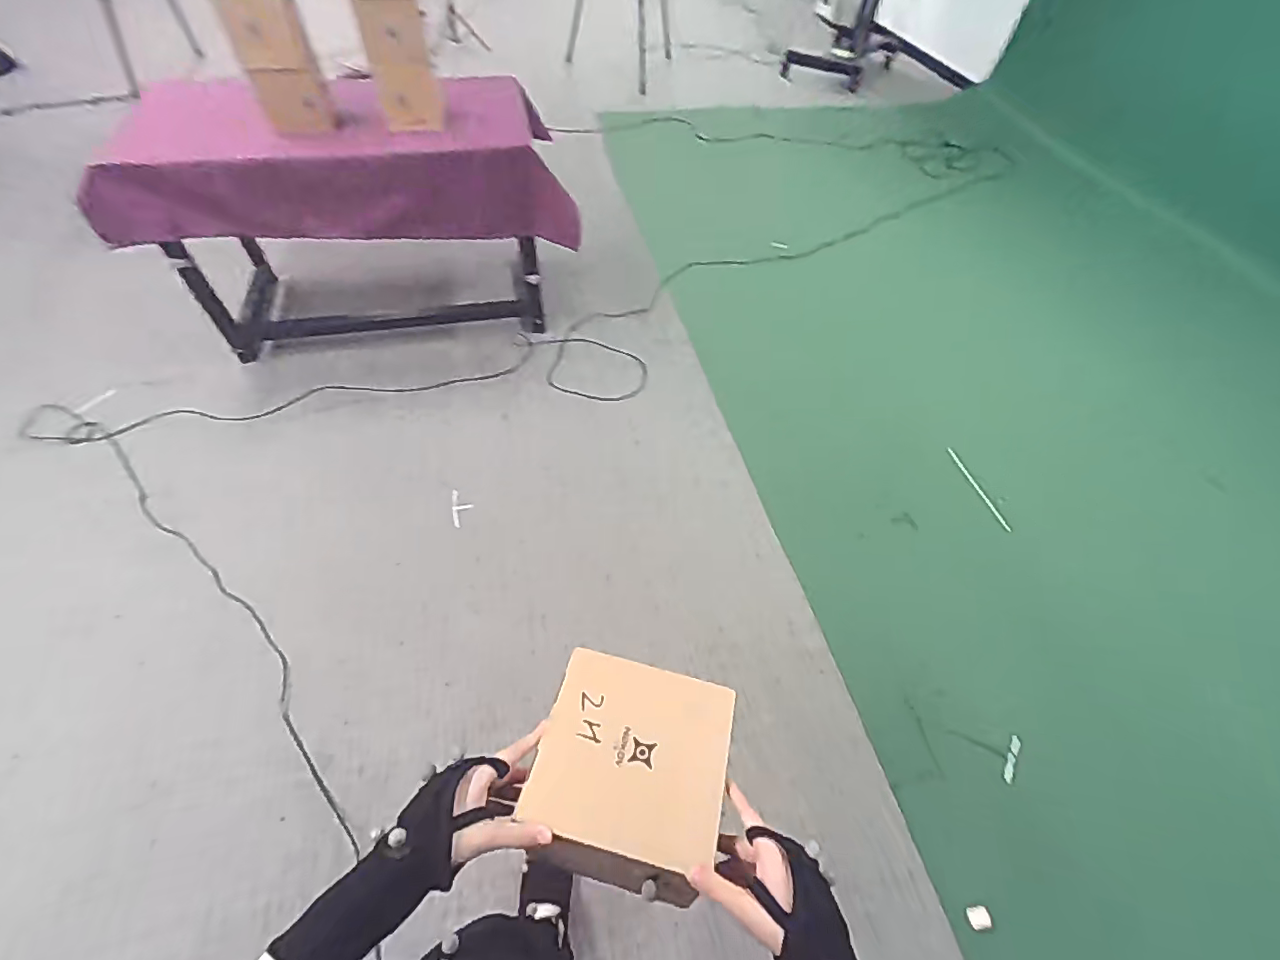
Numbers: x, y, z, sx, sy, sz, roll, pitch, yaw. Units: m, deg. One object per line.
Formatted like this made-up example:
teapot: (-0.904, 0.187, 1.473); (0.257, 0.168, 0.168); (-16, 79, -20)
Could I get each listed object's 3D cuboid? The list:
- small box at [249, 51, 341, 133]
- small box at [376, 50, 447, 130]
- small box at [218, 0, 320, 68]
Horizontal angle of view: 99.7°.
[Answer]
small box: (-1.041, -1.185, 1.651); (0.179, 0.176, 0.168); (-8, 54, -9)
small box: (-0.714, -1.228, 1.706); (0.168, 0.176, 0.179); (-7, 53, -9)
small box: (-1.036, -1.281, 1.518); (0.179, 0.176, 0.168); (-8, 54, -9)
